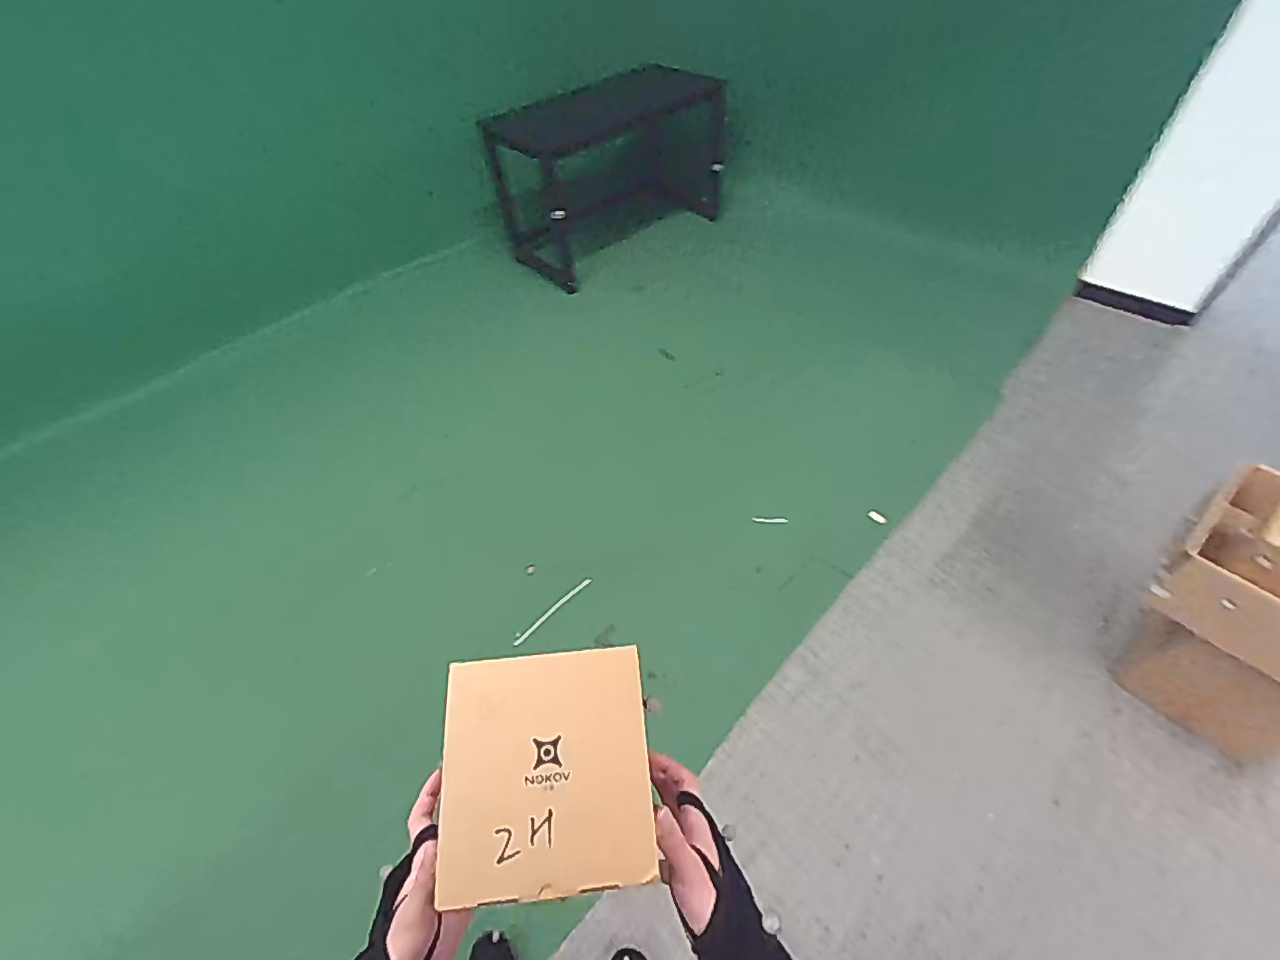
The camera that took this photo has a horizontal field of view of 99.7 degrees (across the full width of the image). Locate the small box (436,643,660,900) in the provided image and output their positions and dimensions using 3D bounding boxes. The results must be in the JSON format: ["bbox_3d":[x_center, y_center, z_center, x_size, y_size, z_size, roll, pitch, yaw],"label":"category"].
[{"bbox_3d":[-0.074,0.264,0.504,0.168,0.176,0.179,-4,61,-3],"label":"small box"}]
